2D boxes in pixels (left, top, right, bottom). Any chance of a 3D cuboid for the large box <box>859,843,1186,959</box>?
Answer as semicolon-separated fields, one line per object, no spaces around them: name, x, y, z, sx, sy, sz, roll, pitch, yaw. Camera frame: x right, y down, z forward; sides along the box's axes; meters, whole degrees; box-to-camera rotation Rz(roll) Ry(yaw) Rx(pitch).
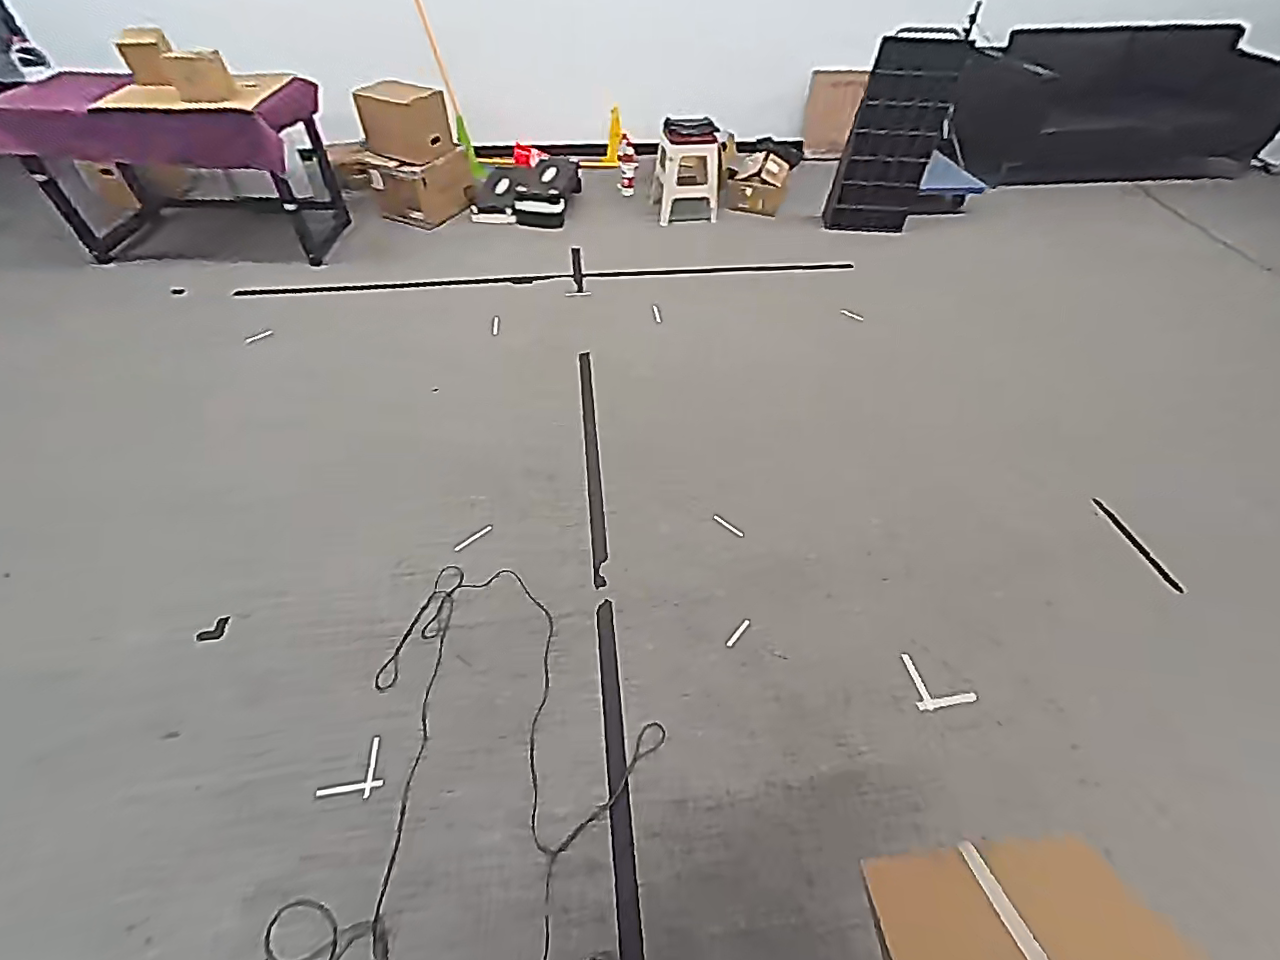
large box;0.489;0.711;0.609;0.320;0.408;0.320;-14;91;7
